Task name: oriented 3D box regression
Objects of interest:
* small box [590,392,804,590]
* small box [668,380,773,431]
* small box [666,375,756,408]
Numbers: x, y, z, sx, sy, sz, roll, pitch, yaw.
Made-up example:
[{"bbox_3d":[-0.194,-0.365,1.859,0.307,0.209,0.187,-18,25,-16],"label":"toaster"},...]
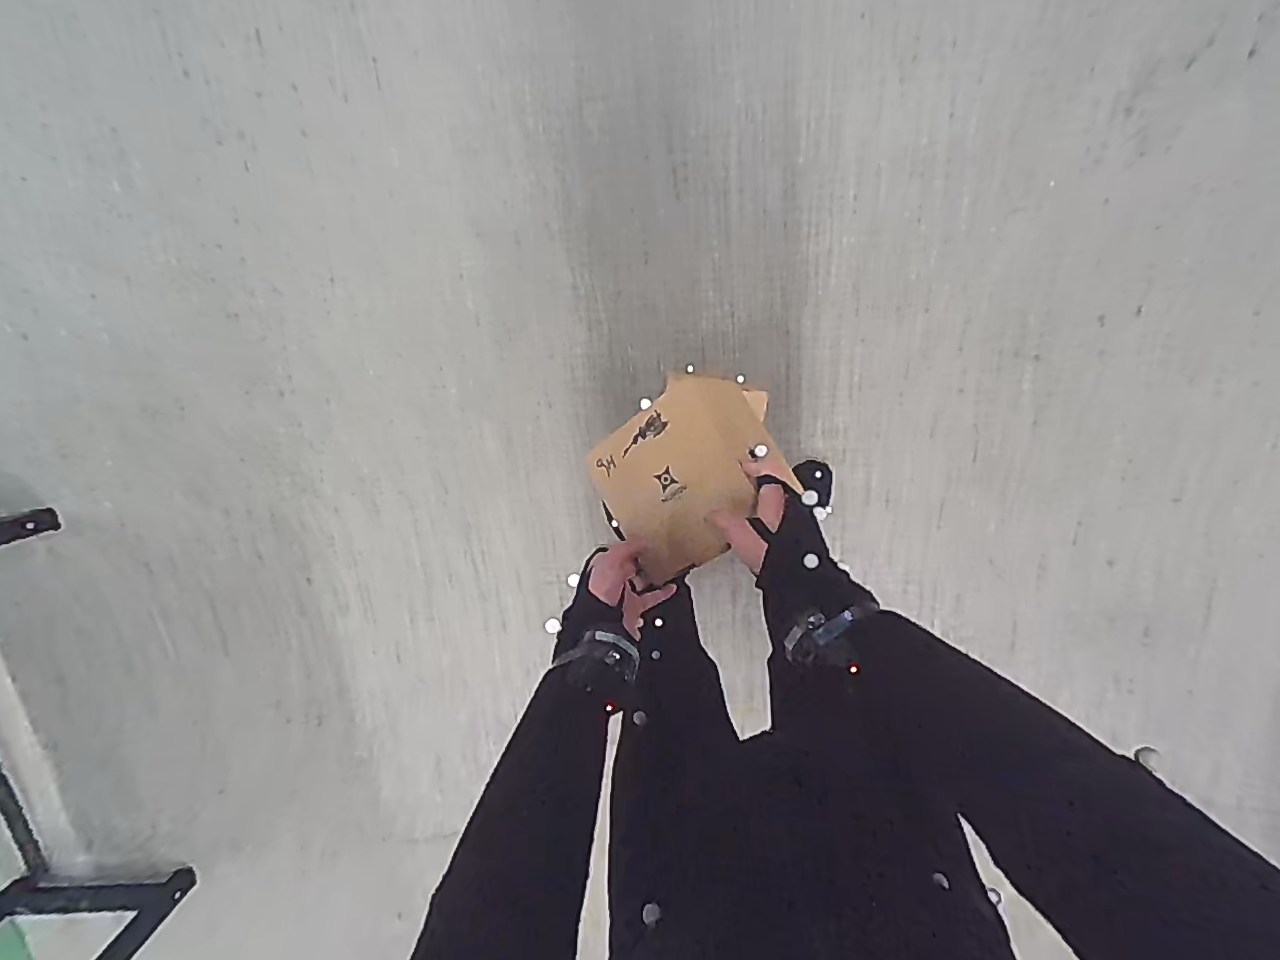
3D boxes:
[{"bbox_3d":[0.079,0.003,0.665,0.168,0.176,0.179,-34,82,28],"label":"small box"},{"bbox_3d":[0.126,-0.078,0.970,0.168,0.176,0.179,10,105,2],"label":"small box"},{"bbox_3d":[0.134,-0.120,1.129,0.168,0.176,0.179,8,106,2],"label":"small box"}]
